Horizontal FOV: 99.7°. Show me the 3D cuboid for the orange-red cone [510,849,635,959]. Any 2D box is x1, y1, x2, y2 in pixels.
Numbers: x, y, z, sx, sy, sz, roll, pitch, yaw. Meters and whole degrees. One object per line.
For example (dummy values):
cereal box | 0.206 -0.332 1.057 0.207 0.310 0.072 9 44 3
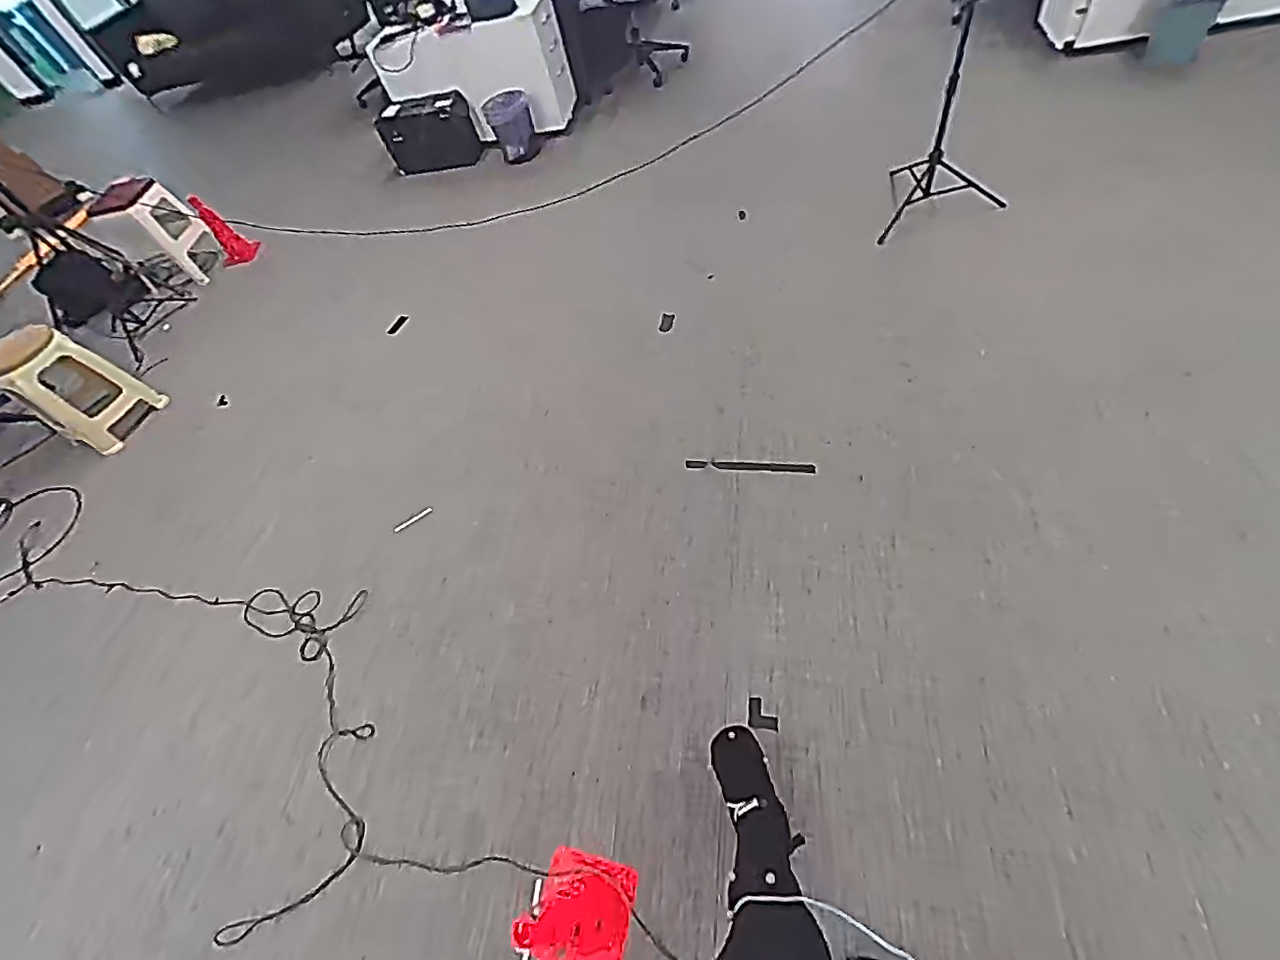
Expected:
orange-red cone | -0.154 0.822 0.998 0.199 0.360 0.198 8 59 18
